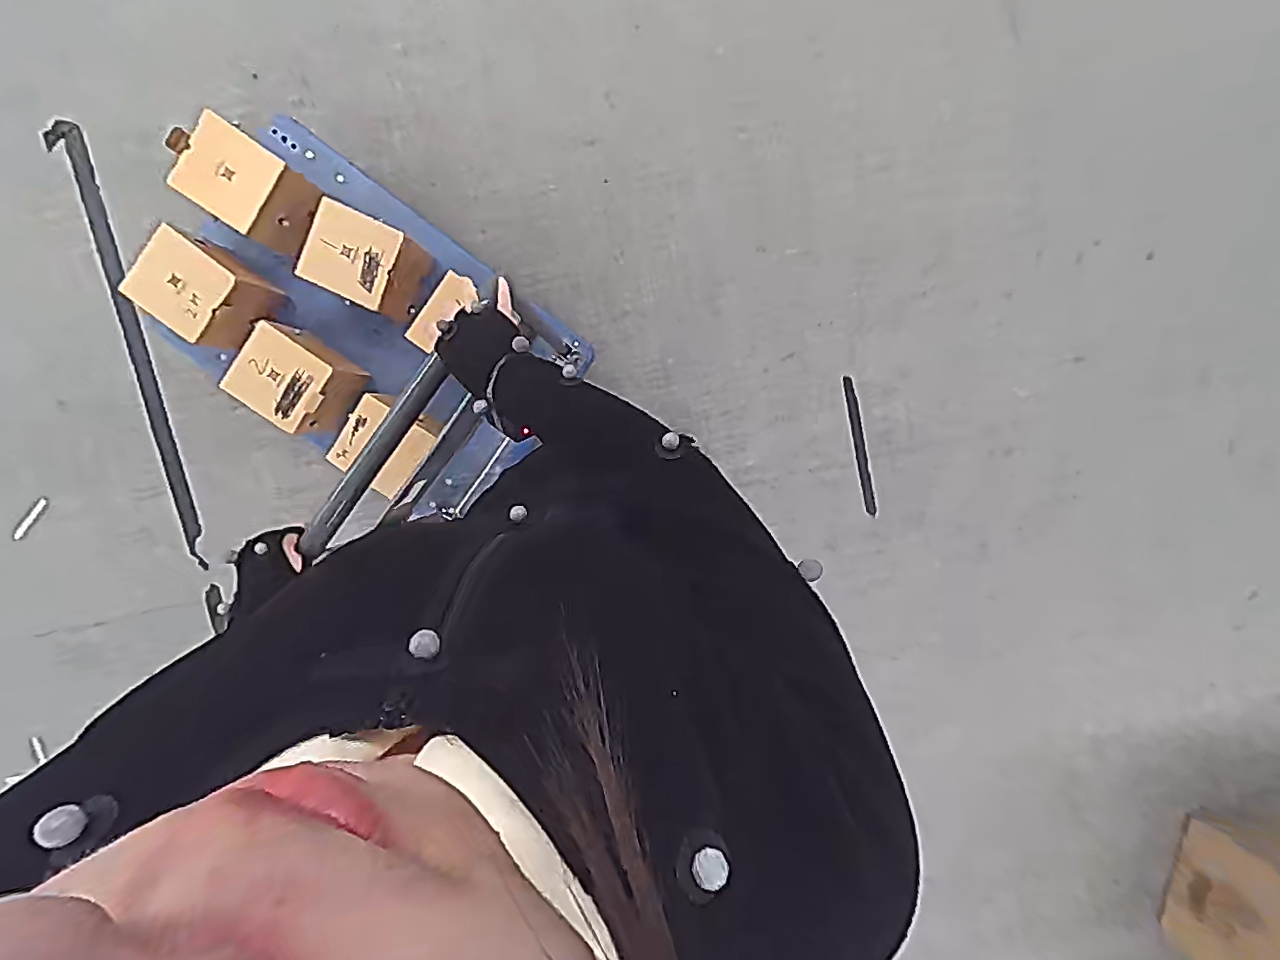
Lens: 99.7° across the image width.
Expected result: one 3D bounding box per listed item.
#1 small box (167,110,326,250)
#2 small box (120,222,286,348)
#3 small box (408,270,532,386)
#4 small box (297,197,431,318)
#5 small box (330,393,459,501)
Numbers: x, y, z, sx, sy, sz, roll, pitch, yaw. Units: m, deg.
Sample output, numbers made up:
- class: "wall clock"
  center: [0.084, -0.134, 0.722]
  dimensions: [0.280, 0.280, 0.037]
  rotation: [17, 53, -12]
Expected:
- class: "small box"
  center: [-0.801, -0.606, 1.123]
  dimensions: [0.179, 0.176, 0.168]
  rotation: [33, 96, -6]
- class: "small box"
  center: [-0.910, -0.398, 1.144]
  dimensions: [0.179, 0.176, 0.168]
  rotation: [38, 95, -7]
- class: "small box"
  center: [-0.358, -0.320, 1.176]
  dimensions: [0.179, 0.176, 0.168]
  rotation: [37, 94, -5]
- class: "small box"
  center: [-0.573, -0.459, 1.149]
  dimensions: [0.179, 0.176, 0.168]
  rotation: [23, 96, -4]
- class: "small box"
  center: [-0.531, -0.079, 1.199]
  dimensions: [0.179, 0.176, 0.168]
  rotation: [33, 94, -6]
